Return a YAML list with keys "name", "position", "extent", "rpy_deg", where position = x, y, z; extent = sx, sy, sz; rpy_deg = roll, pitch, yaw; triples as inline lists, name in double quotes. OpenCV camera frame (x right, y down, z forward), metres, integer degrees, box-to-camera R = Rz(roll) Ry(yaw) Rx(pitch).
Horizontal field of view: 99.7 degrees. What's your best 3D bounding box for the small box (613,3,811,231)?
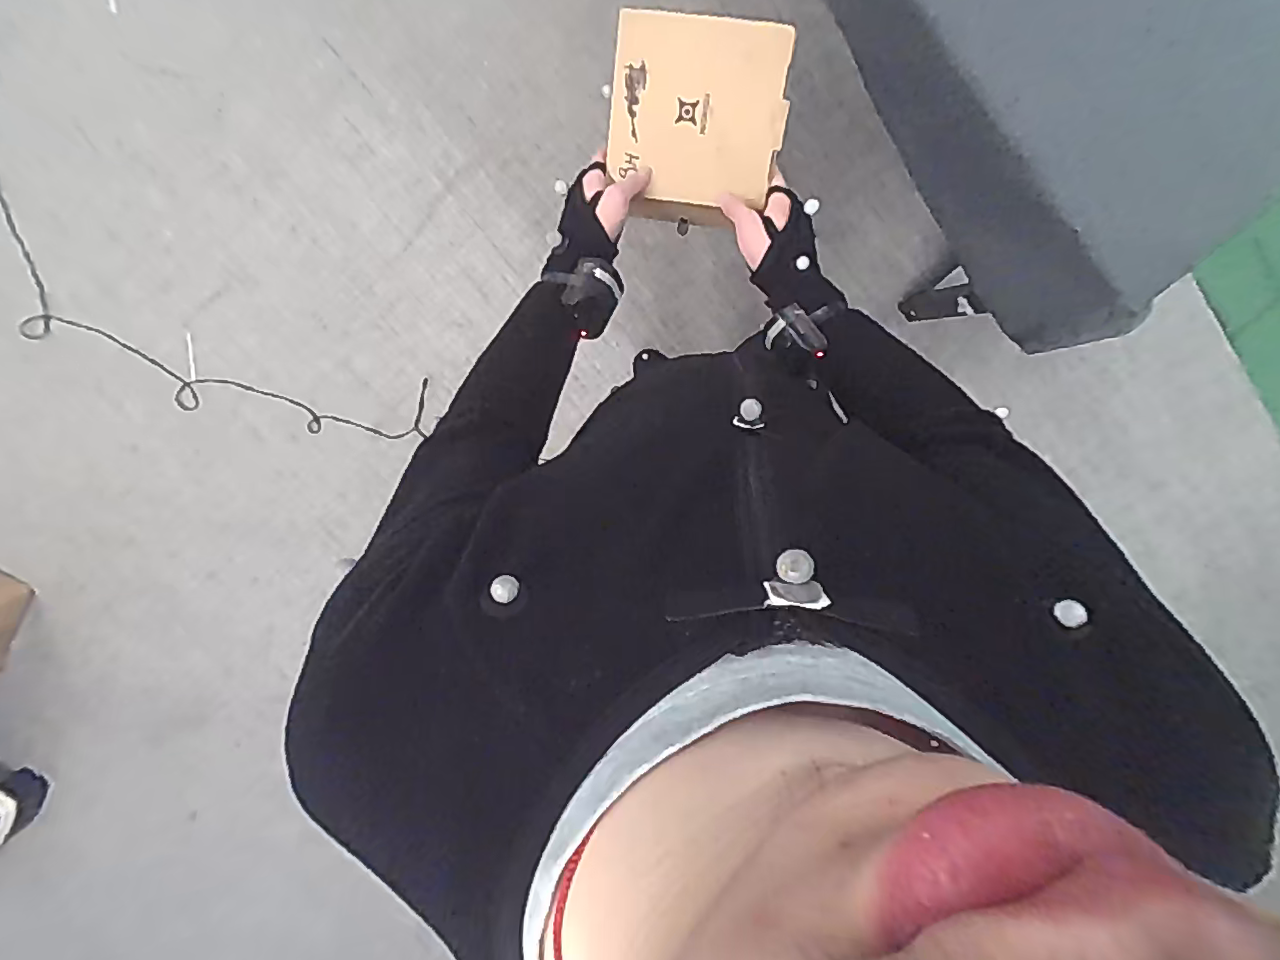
- name: "small box"
  position: [0.069, -0.386, 0.608]
  extent: [0.179, 0.176, 0.168]
  rpy_deg: [6, 108, 0]
